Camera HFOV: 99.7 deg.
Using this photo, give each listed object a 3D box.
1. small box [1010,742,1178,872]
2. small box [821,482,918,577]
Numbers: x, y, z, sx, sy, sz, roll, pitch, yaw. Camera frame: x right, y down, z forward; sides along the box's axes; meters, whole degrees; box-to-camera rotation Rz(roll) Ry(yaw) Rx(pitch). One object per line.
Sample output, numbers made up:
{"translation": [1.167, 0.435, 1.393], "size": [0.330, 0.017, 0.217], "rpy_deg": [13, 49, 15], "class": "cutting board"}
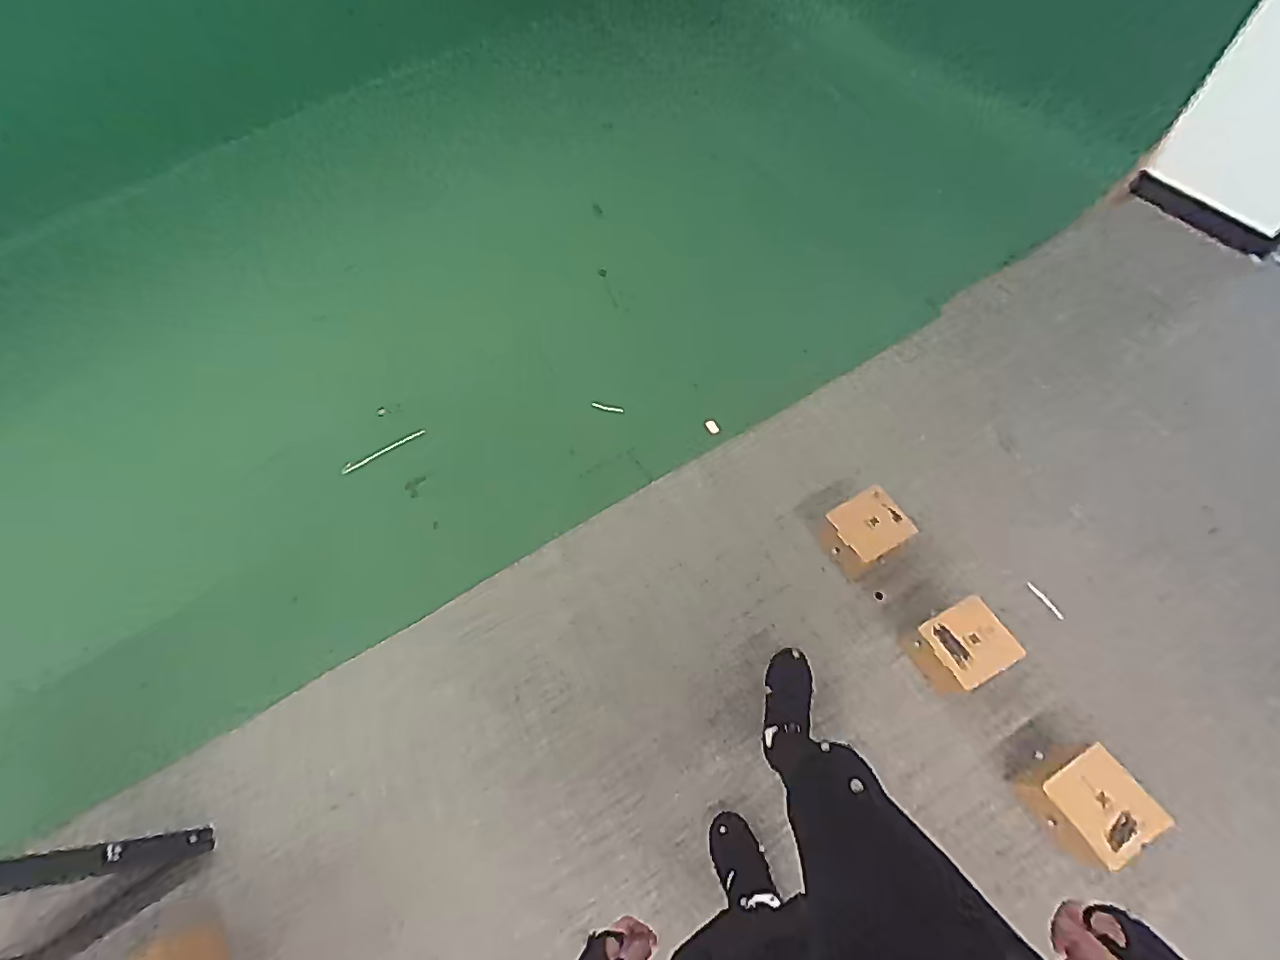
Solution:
{"translation": [0.952, 0.685, 1.154], "size": [0.168, 0.176, 0.179], "rpy_deg": [-31, 62, -7], "class": "small box"}
{"translation": [0.616, 0.143, 1.483], "size": [0.179, 0.176, 0.168], "rpy_deg": [-29, 63, -5], "class": "small box"}
